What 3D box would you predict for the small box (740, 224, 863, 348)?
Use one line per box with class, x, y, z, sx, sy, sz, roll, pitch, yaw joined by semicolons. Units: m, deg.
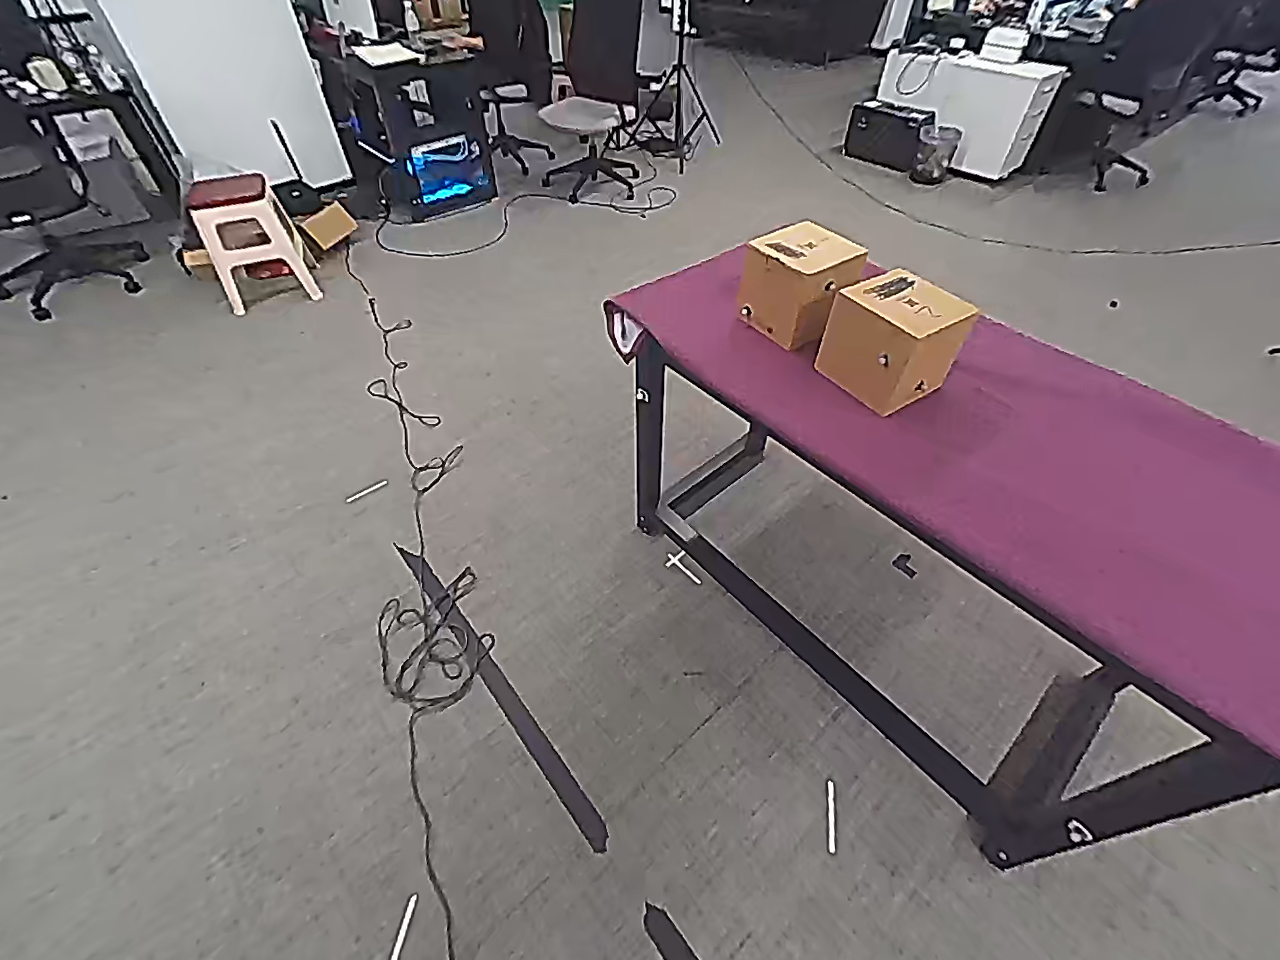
small box;0.324;-0.402;1.127;0.179;0.176;0.168;-28;54;-23
